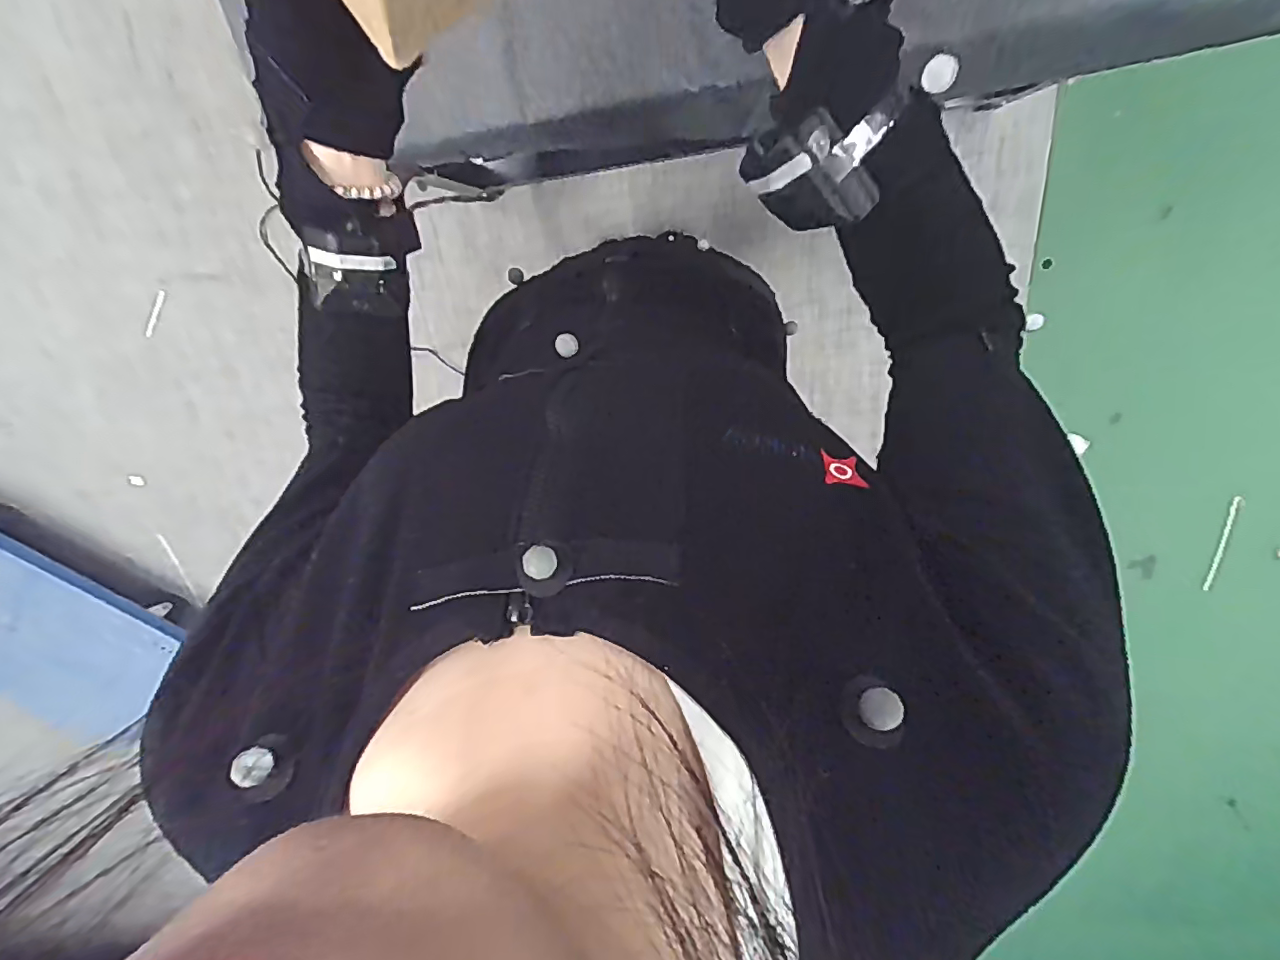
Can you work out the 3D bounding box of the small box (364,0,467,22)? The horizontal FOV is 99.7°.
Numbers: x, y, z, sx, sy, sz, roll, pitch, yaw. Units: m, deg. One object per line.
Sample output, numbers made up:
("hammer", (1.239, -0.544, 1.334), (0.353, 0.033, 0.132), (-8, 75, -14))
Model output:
("small box", (-0.091, -0.322, 0.196), (0.168, 0.176, 0.179), (-38, 112, -4))
